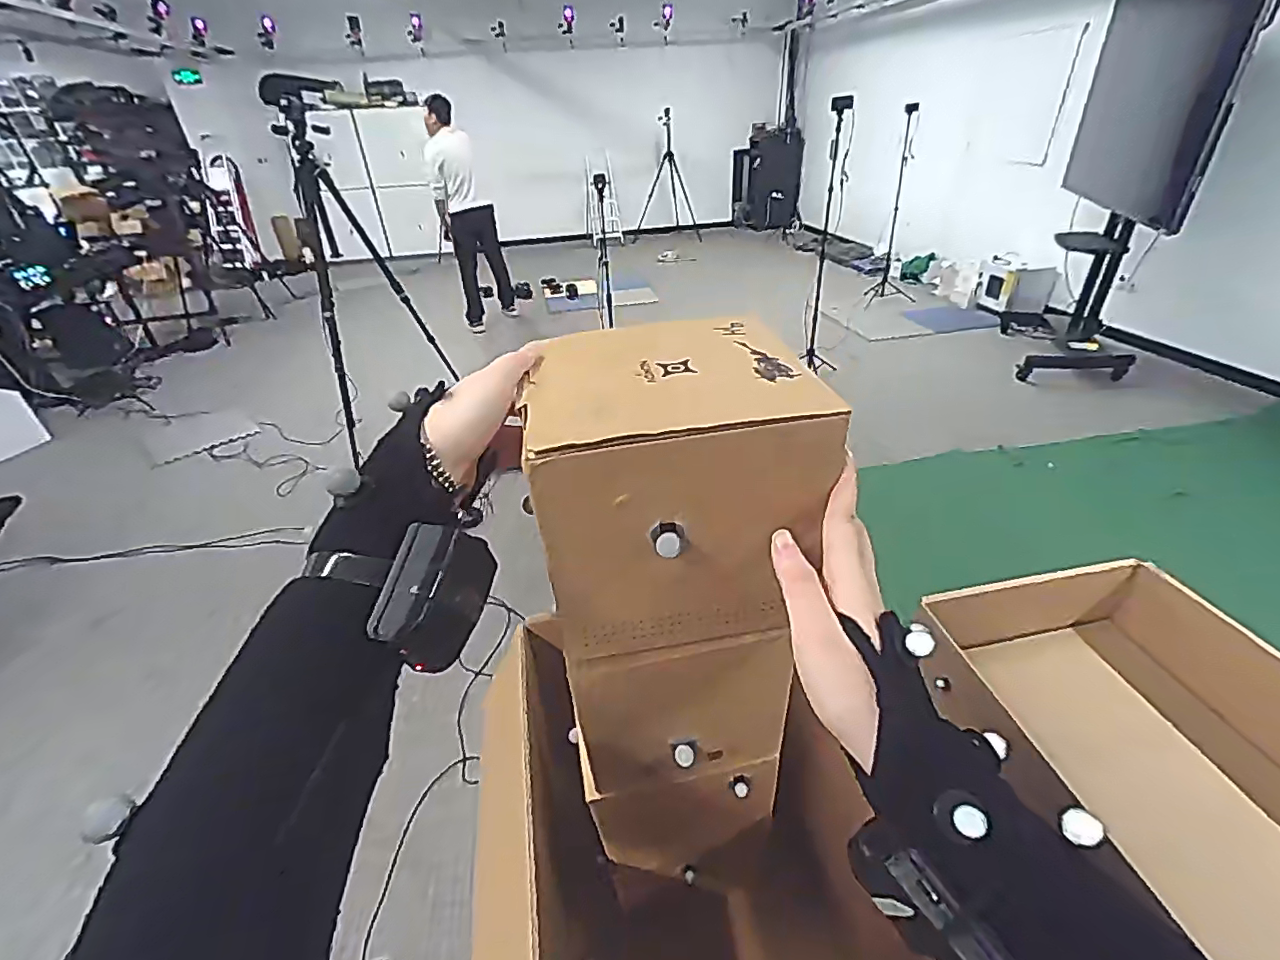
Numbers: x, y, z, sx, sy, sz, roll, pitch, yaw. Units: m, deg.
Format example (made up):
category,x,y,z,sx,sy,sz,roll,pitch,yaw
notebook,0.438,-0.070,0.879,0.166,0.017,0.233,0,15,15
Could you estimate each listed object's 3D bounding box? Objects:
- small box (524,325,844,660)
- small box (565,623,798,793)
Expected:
category,x,y,z,sx,sy,sz,roll,pitch,yaw
small box,0.021,0.006,0.391,0.179,0.176,0.168,-9,36,-5
small box,0.023,0.142,0.486,0.168,0.176,0.179,-10,37,-6
